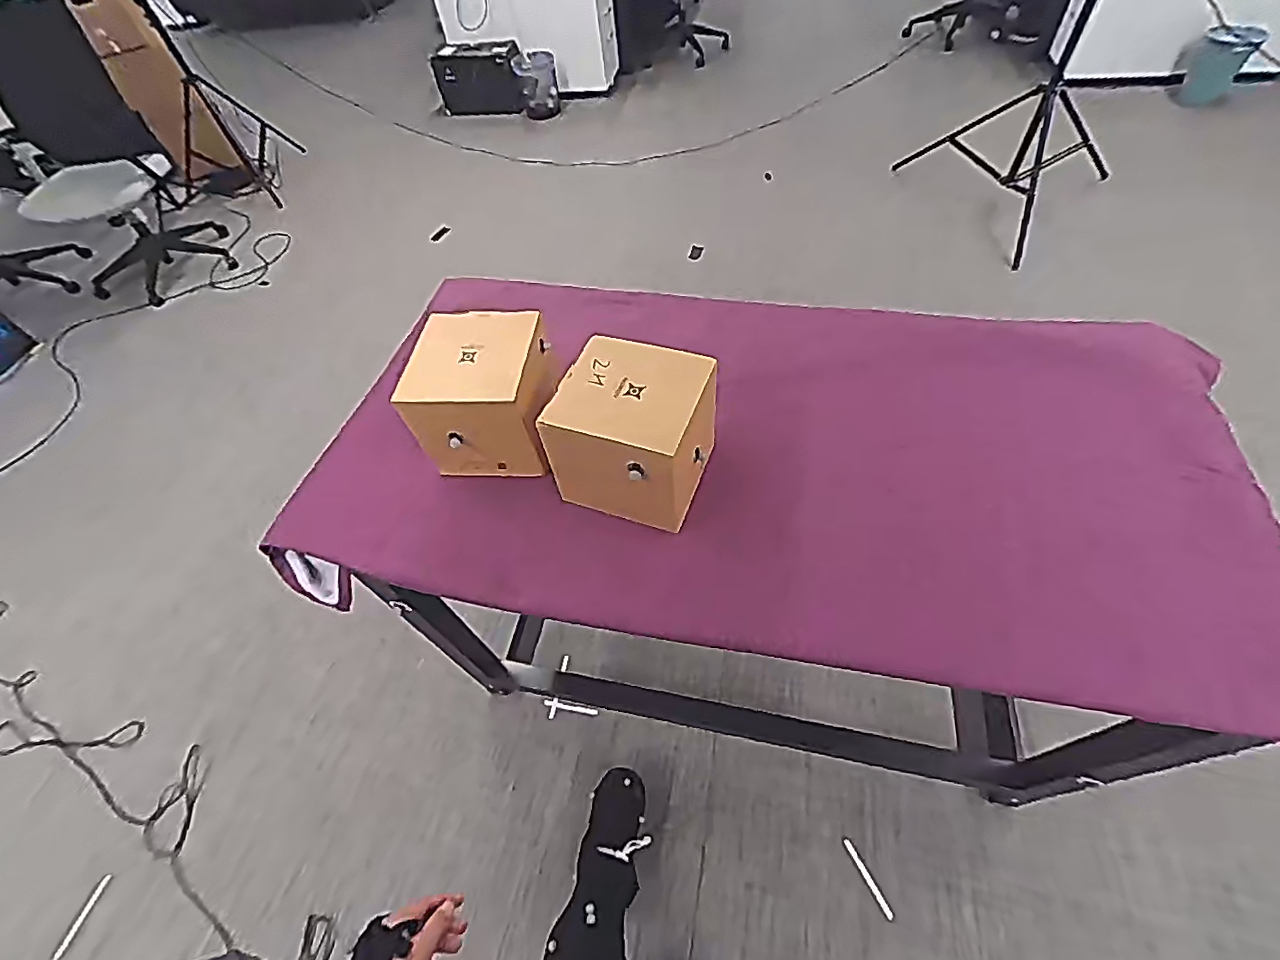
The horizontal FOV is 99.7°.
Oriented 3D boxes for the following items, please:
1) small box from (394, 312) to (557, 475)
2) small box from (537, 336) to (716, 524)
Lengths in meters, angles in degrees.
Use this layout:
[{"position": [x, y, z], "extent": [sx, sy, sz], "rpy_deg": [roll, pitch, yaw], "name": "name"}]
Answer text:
[{"position": [-0.221, -0.120, 0.791], "extent": [0.168, 0.176, 0.179], "rpy_deg": [0, 54, 7], "name": "small box"}, {"position": [-0.007, -0.063, 0.723], "extent": [0.179, 0.176, 0.168], "rpy_deg": [15, 56, 17], "name": "small box"}]
